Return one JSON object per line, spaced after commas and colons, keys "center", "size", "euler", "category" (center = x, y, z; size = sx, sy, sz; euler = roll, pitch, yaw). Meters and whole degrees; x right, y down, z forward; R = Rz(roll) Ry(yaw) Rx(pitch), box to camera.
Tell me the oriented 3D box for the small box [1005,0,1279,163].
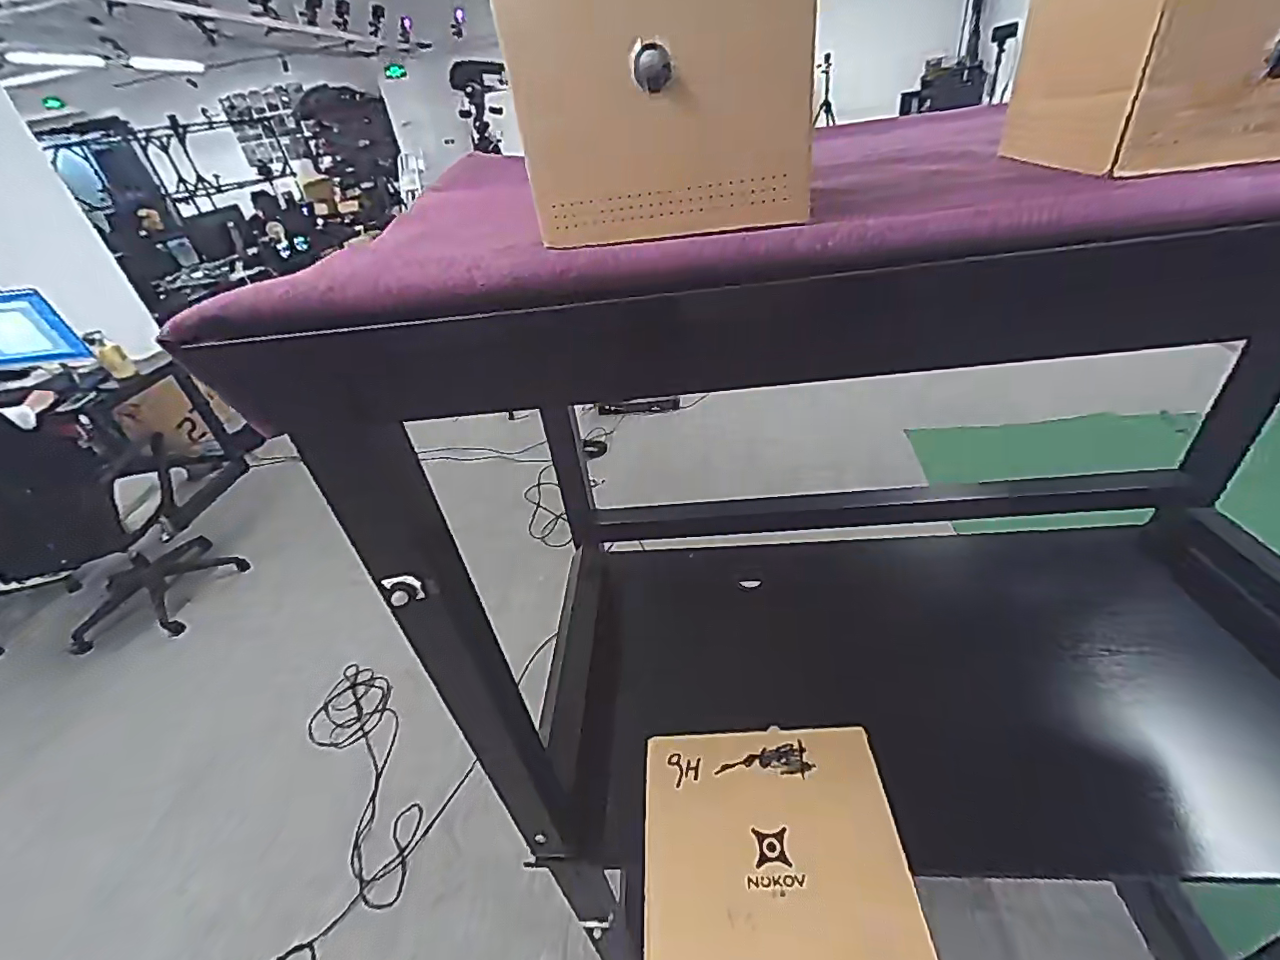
{"center": [0.360, -0.304, 0.332], "size": [0.168, 0.176, 0.179], "euler": [-2, 35, 11], "category": "small box"}
